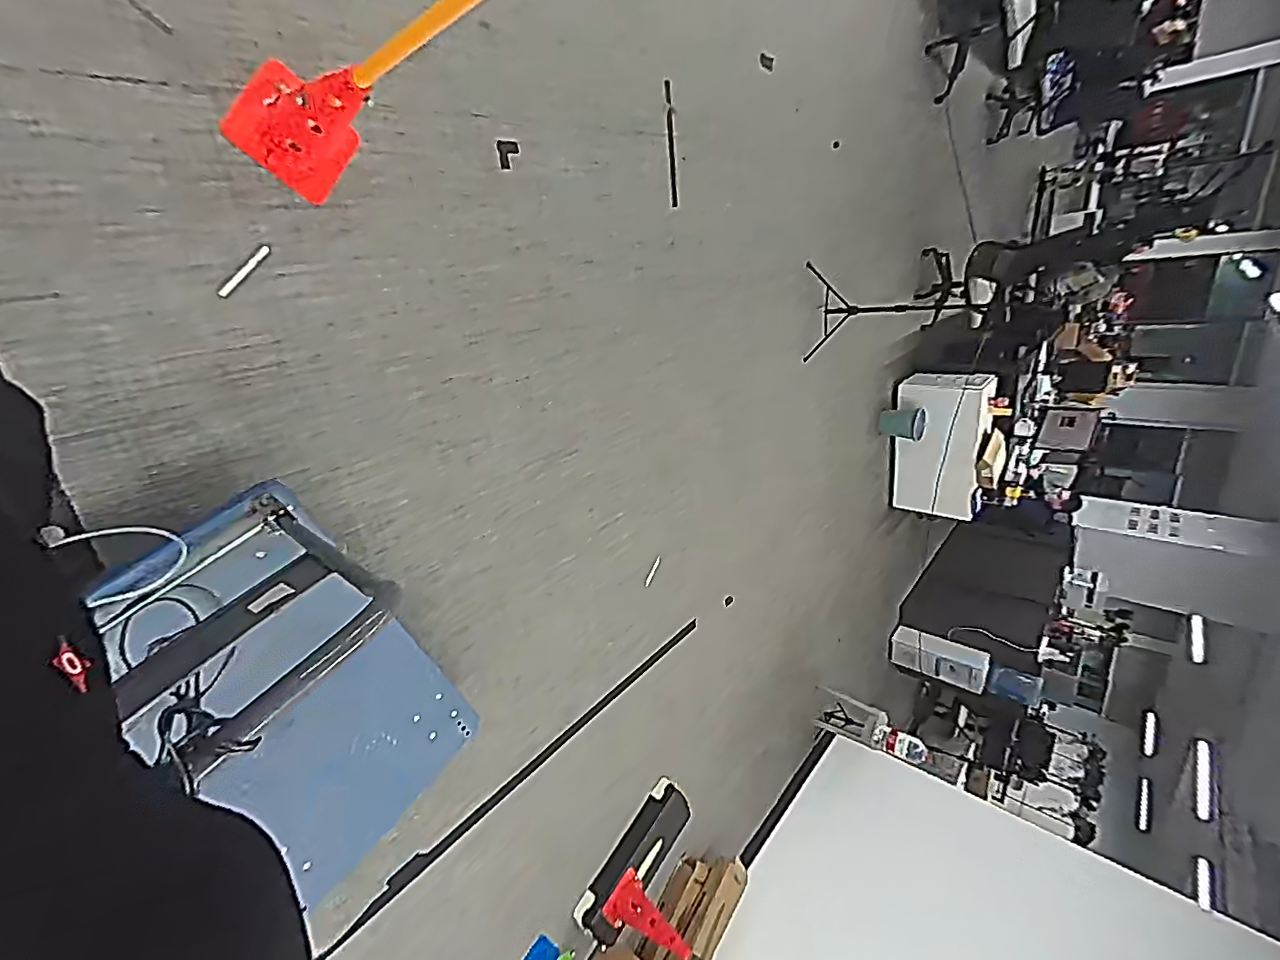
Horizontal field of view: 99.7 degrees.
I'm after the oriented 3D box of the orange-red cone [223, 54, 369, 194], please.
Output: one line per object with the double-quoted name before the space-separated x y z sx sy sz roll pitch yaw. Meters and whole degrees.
"orange-red cone" -0.590 -0.699 1.004 0.198 0.360 0.199 37 73 -46
